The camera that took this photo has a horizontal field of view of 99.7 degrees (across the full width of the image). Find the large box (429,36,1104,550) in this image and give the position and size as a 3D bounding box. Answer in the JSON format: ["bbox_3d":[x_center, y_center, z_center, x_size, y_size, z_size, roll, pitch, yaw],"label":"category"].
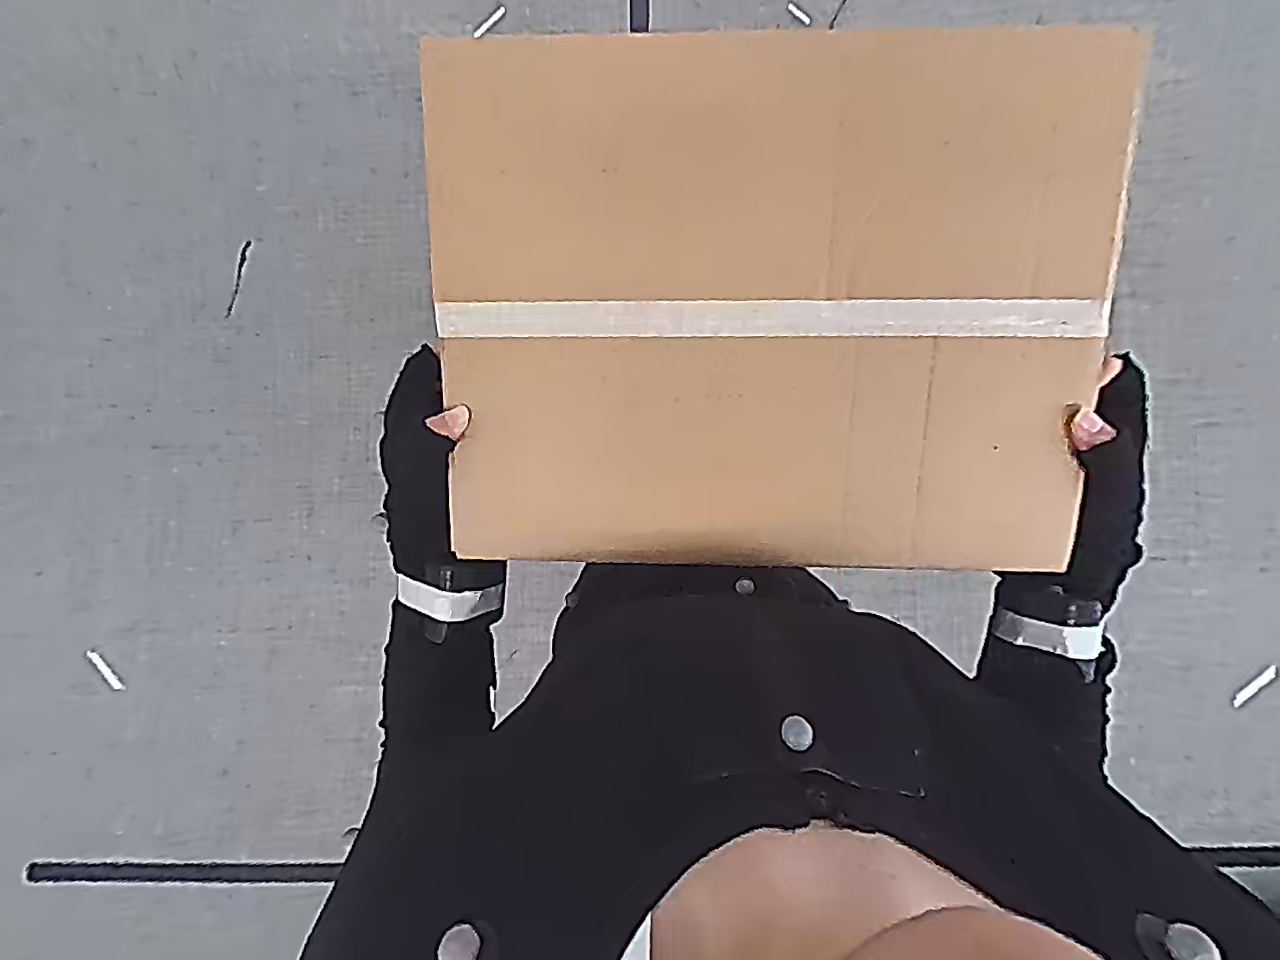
[{"bbox_3d":[0.075,-0.130,0.489,0.408,0.320,0.320,1,101,2],"label":"large box"}]
